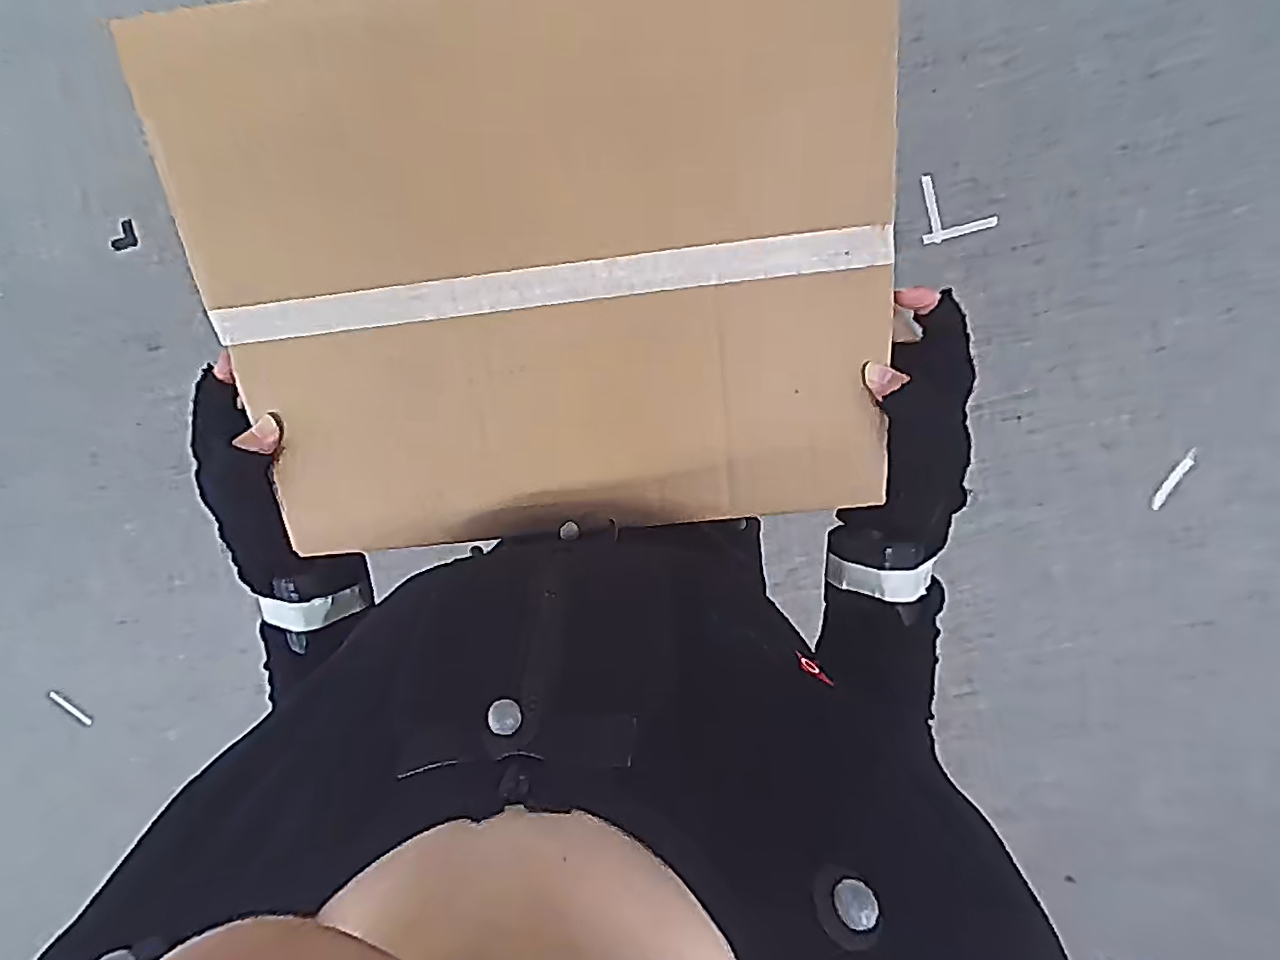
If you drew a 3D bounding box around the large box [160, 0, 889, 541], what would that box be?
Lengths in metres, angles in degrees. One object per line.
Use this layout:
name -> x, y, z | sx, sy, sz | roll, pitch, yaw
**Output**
large box -> -0.051, -0.166, 0.471 | 0.408, 0.320, 0.320 | -5, 109, 3
